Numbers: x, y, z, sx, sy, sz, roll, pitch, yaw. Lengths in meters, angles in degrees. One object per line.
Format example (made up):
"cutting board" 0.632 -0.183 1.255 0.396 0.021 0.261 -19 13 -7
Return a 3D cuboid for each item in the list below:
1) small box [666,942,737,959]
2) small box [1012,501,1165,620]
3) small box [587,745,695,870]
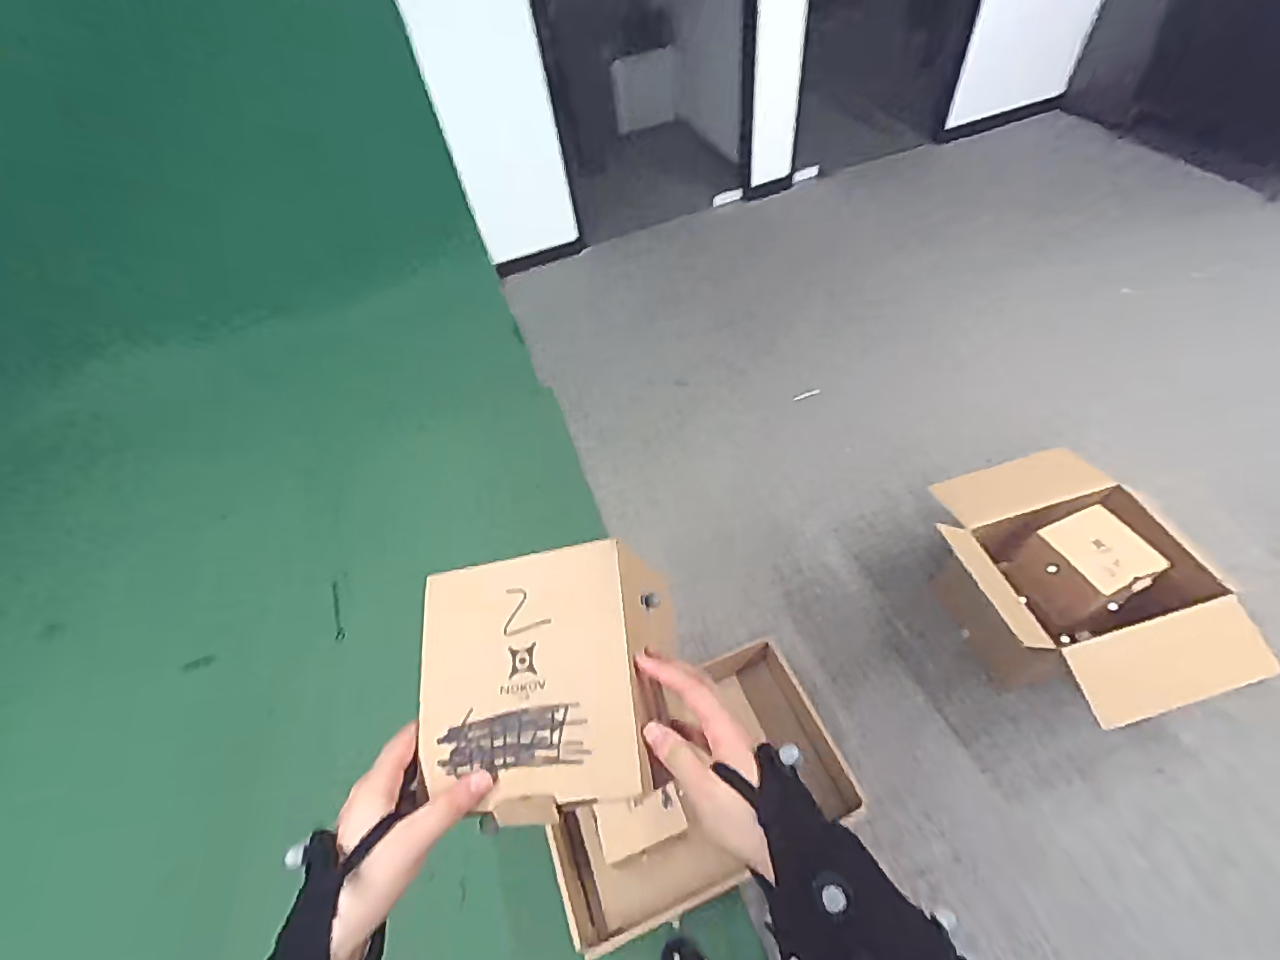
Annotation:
"small box" 0.128 0.973 0.957 0.176 0.168 0.179 40 38 0
"small box" 1.000 0.185 1.229 0.168 0.176 0.179 -23 52 -6
"small box" 0.007 0.702 1.152 0.179 0.176 0.168 -21 50 -8
